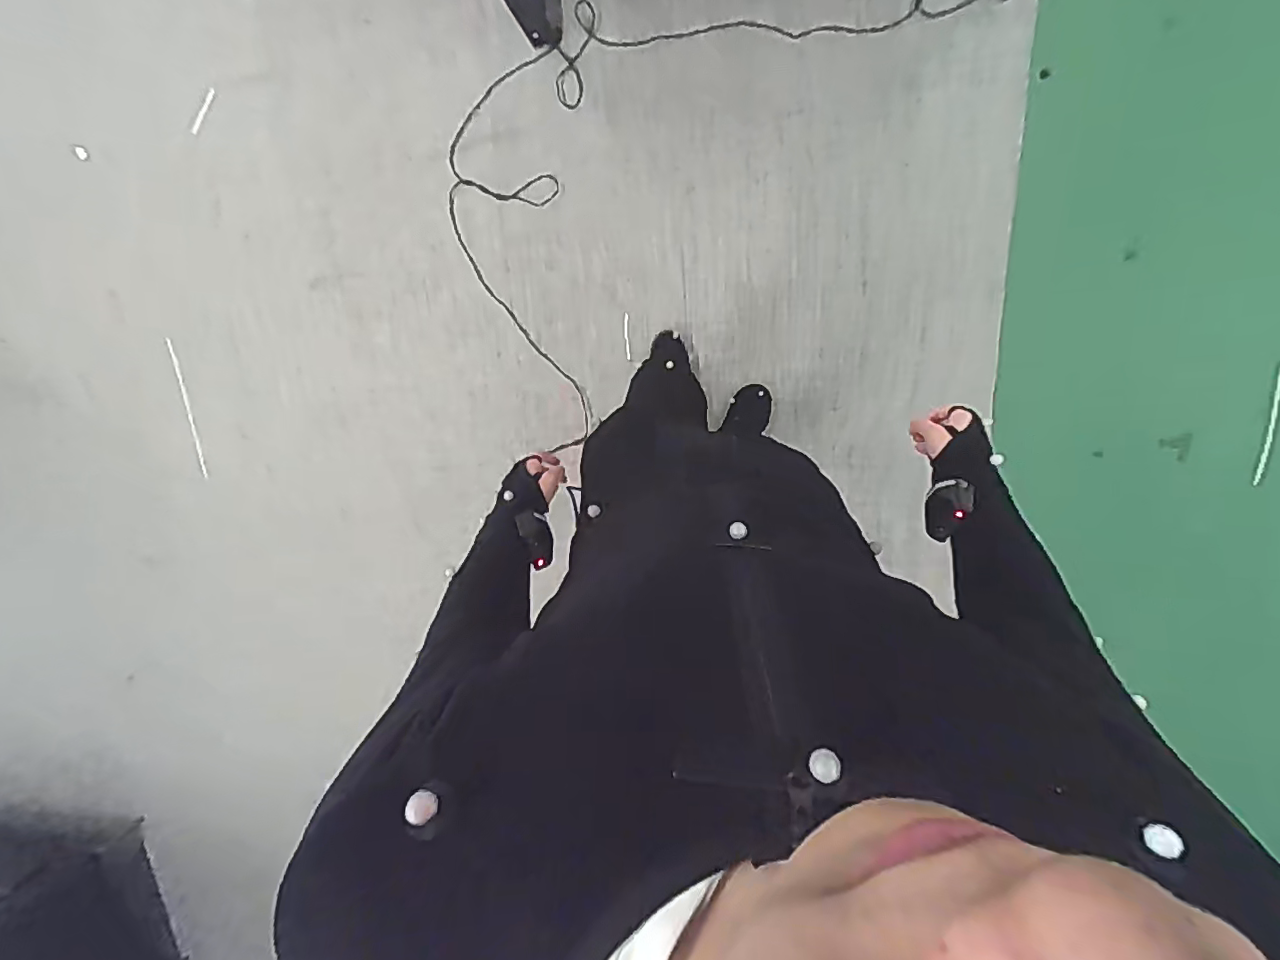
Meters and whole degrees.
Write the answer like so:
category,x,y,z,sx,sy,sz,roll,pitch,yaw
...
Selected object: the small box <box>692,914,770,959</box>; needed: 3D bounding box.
category,x,y,z,sx,sy,sz,roll,pitch,yaw
small box,0.202,1.143,1.221,0.168,0.176,0.179,8,105,7
